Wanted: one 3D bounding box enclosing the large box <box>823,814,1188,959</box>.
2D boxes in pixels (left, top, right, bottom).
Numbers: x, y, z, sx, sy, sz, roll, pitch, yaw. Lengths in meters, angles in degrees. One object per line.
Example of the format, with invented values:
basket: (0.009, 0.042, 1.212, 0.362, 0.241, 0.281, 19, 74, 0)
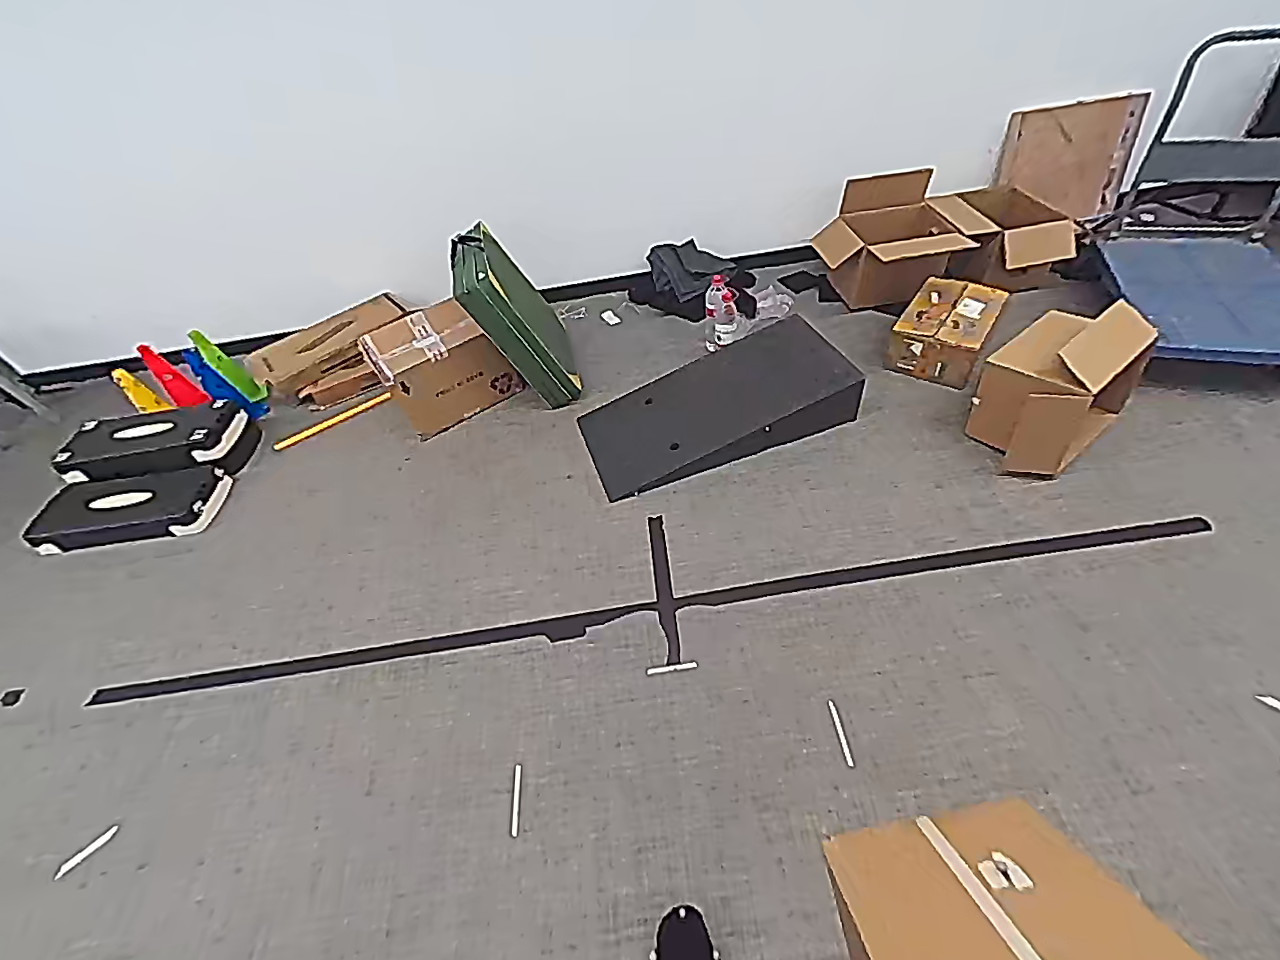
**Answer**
large box: (0.457, 0.682, 0.628, 0.320, 0.408, 0.320, -12, 86, 2)
